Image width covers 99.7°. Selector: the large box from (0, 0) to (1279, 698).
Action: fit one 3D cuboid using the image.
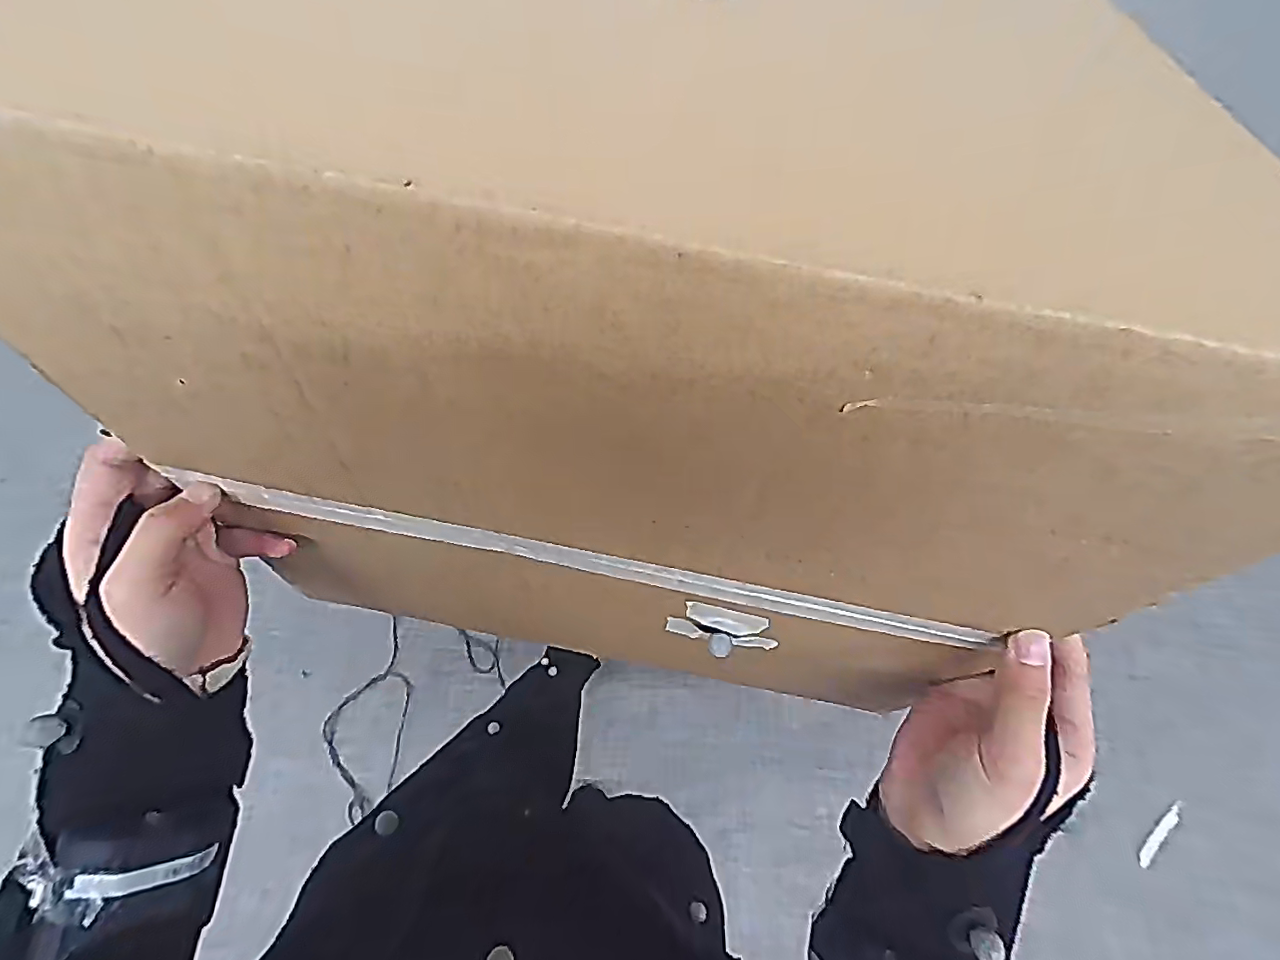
[{"bbox_3d":[0.004,-0.090,0.338,0.408,0.320,0.320,11,57,1],"label":"large box"}]
